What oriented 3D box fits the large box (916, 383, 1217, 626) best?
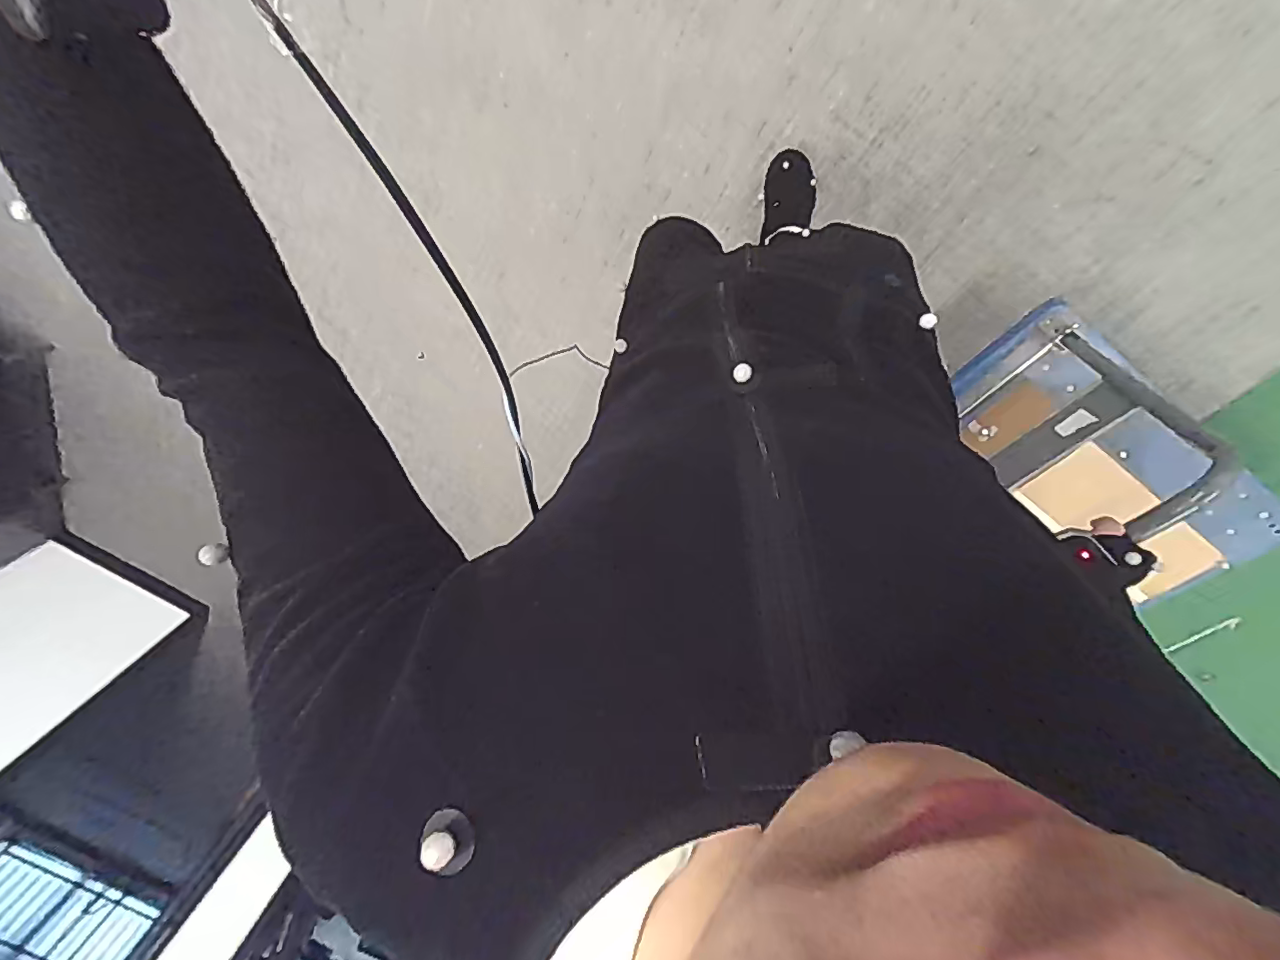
[{"bbox_3d":[0.930,0.050,1.243,0.408,0.320,0.320,36,124,-8],"label":"large box"}]
